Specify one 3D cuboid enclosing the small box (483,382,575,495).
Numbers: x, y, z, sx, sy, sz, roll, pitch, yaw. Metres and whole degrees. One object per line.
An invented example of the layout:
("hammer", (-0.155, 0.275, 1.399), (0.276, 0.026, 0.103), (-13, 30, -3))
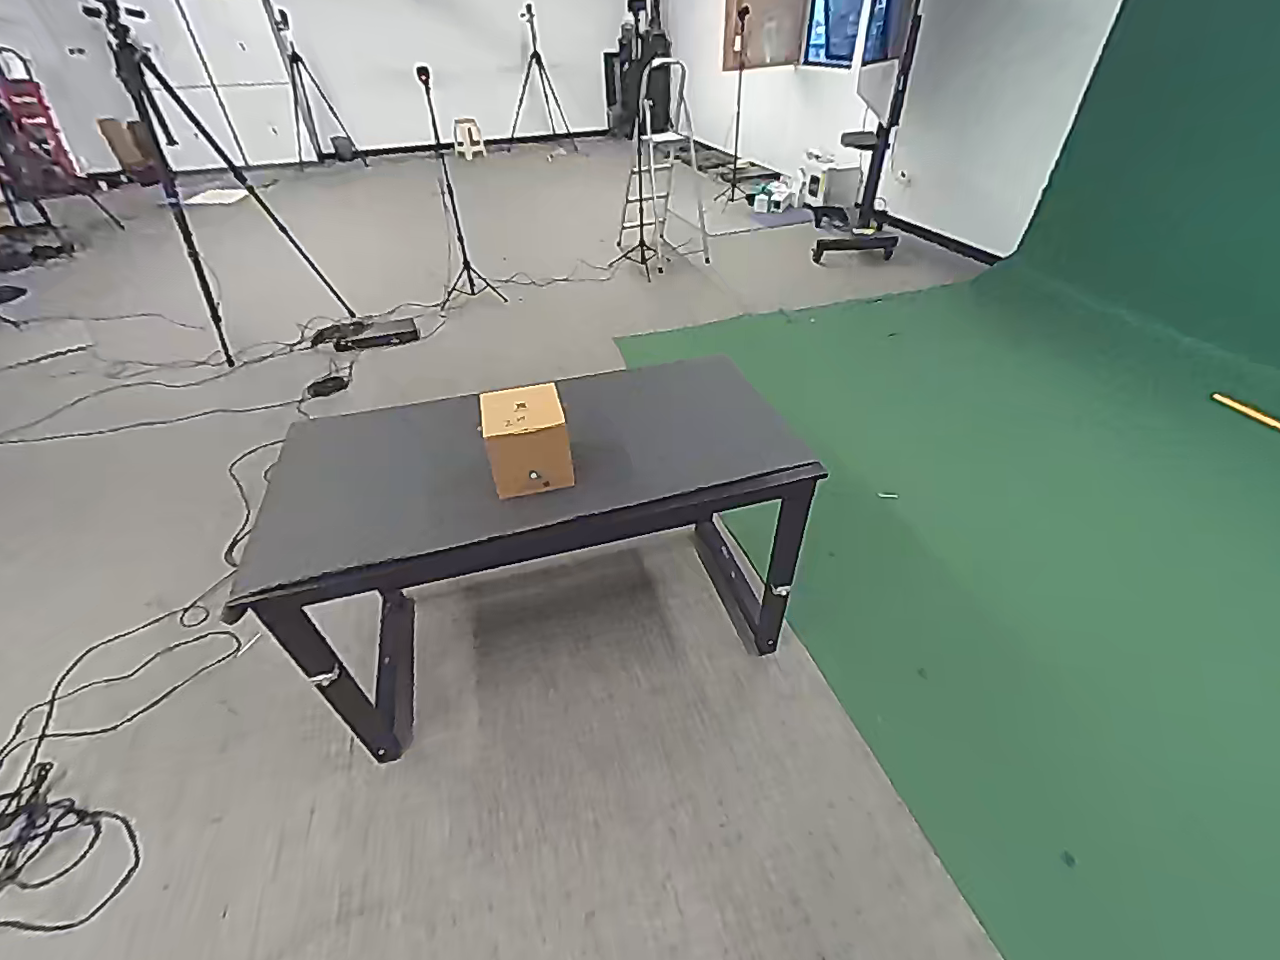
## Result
("small box", (-0.242, -0.092, 1.182), (0.168, 0.176, 0.179), (-11, 40, -10))
